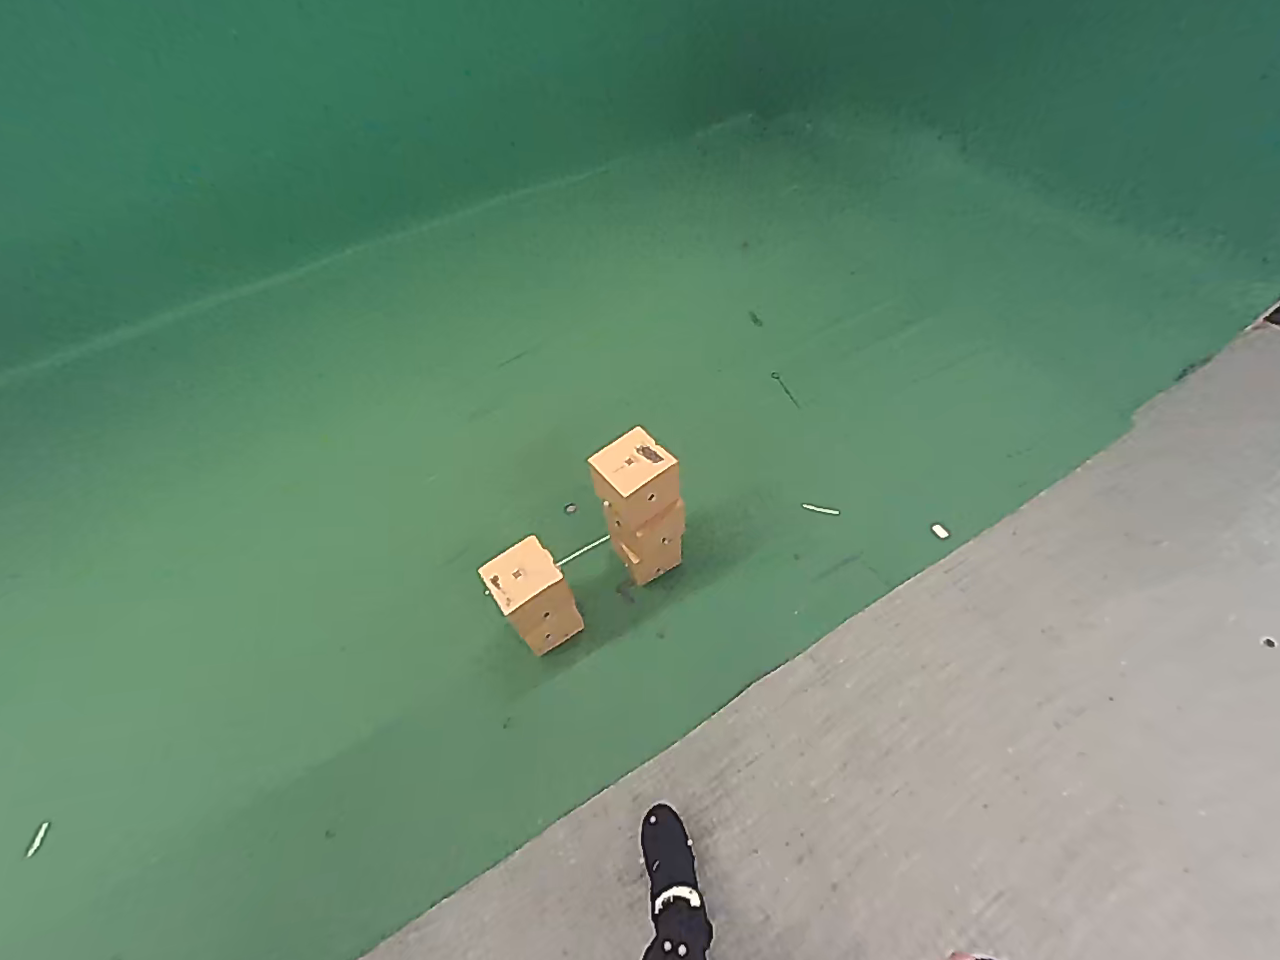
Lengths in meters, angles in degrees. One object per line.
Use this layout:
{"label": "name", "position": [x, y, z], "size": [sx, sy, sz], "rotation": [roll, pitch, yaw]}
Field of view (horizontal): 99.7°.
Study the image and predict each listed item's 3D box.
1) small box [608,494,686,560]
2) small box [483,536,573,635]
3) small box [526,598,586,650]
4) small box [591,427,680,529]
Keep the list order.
{"label": "small box", "position": [0.018, 0.102, 1.582], "size": [0.168, 0.176, 0.179], "rotation": [-37, 60, -19]}
{"label": "small box", "position": [-0.298, 0.291, 1.483], "size": [0.179, 0.176, 0.168], "rotation": [-32, 56, -16]}
{"label": "small box", "position": [-0.278, 0.386, 1.615], "size": [0.168, 0.176, 0.179], "rotation": [-30, 56, -14]}
{"label": "small box", "position": [-0.008, -0.004, 1.458], "size": [0.179, 0.176, 0.168], "rotation": [-35, 58, -17]}
